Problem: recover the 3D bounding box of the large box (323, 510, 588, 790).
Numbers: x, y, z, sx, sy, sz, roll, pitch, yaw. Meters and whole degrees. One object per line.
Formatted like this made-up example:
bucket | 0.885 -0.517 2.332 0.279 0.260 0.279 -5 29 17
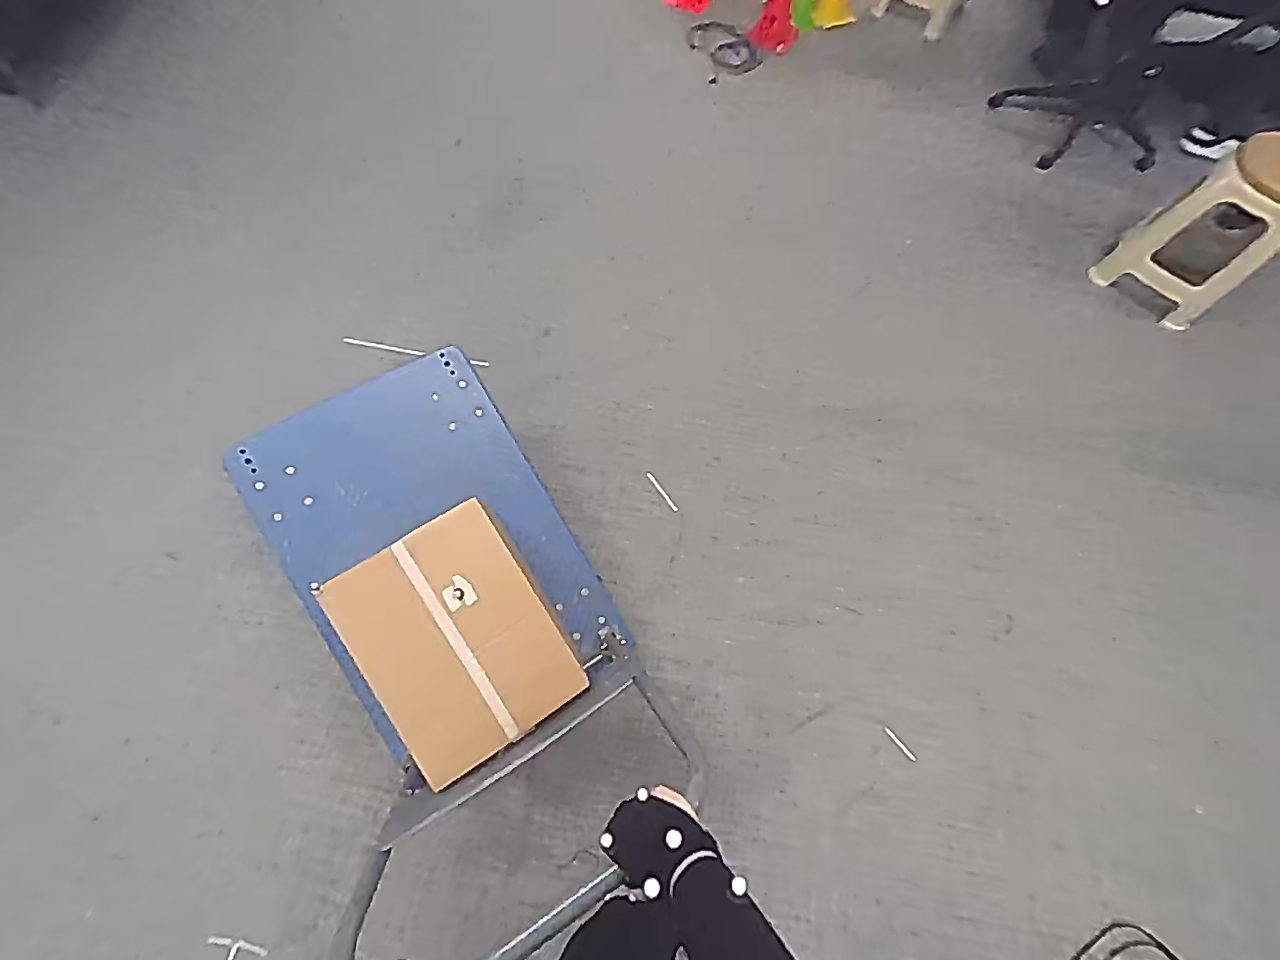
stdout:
large box | -0.345 0.318 1.115 0.320 0.320 0.408 -32 88 -13
